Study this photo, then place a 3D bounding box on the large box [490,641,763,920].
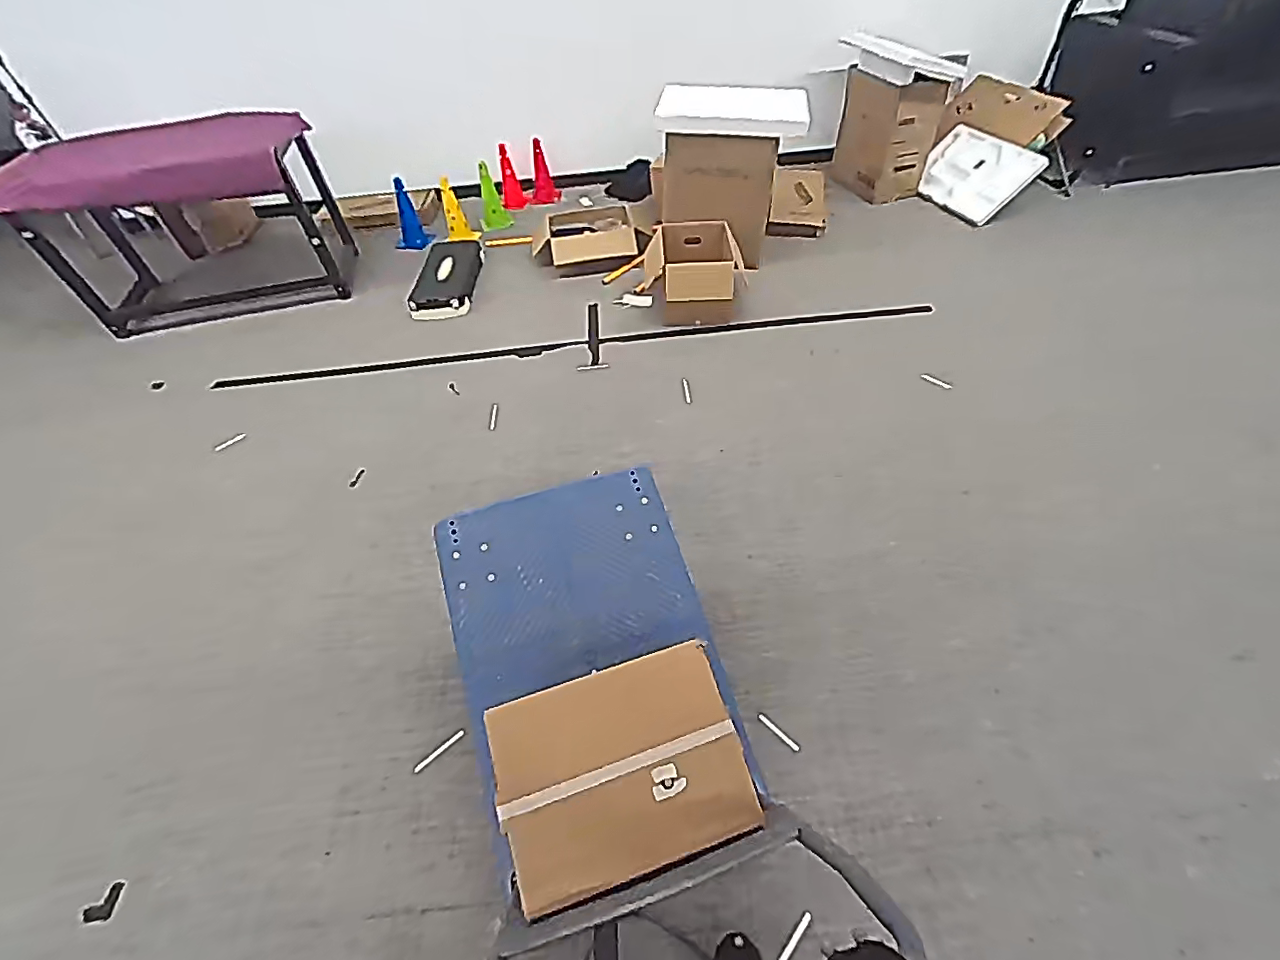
[{"bbox_3d":[-0.037,0.552,1.057,0.408,0.320,0.320,-16,69,-11],"label":"large box"}]
